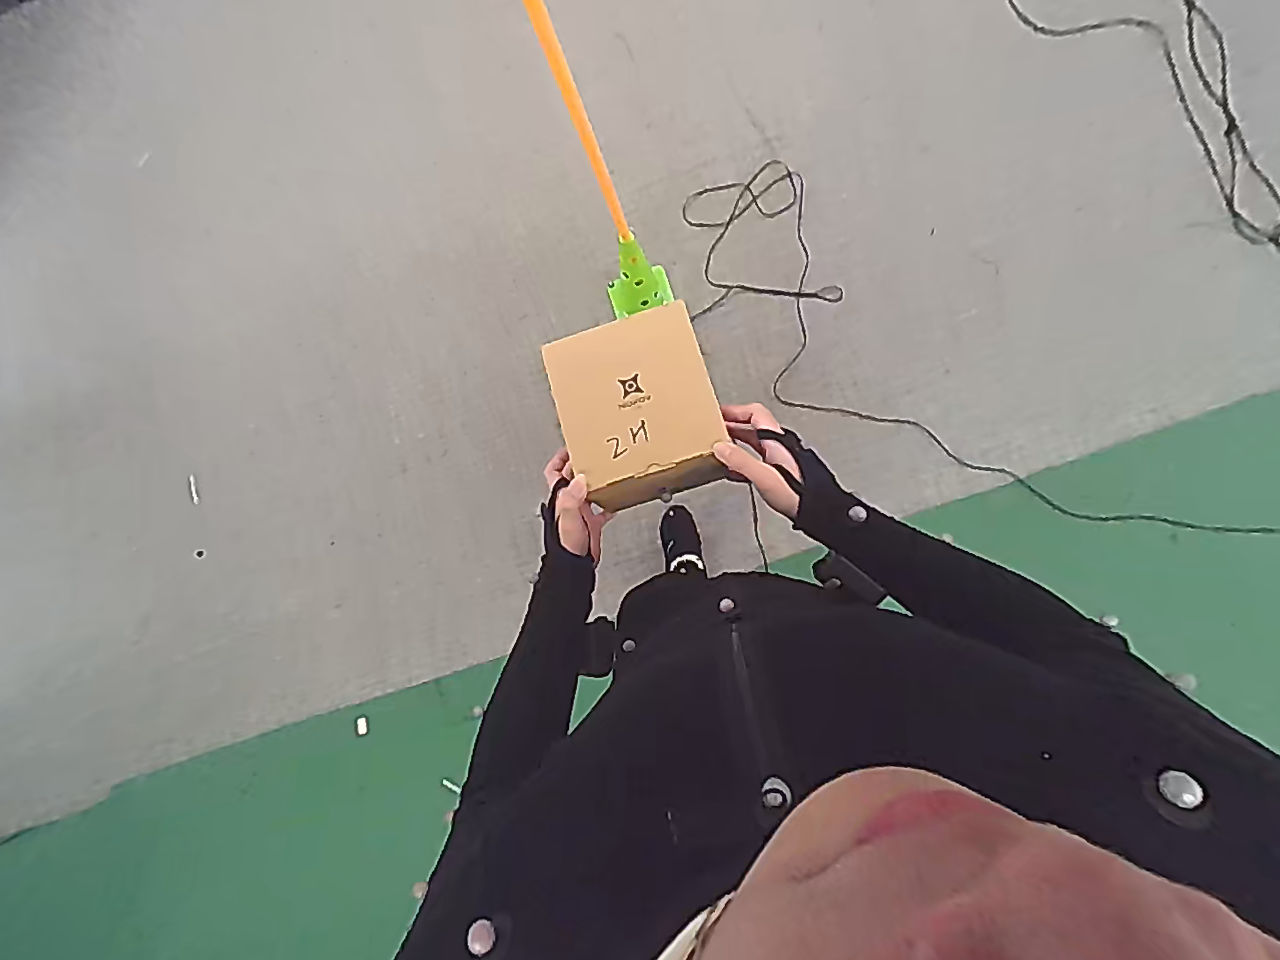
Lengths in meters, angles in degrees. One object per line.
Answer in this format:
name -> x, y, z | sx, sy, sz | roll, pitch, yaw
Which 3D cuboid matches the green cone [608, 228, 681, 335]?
green cone -> -0.005, -0.611, 1.593 | 0.202, 0.368, 0.200 | -18, 80, 3
